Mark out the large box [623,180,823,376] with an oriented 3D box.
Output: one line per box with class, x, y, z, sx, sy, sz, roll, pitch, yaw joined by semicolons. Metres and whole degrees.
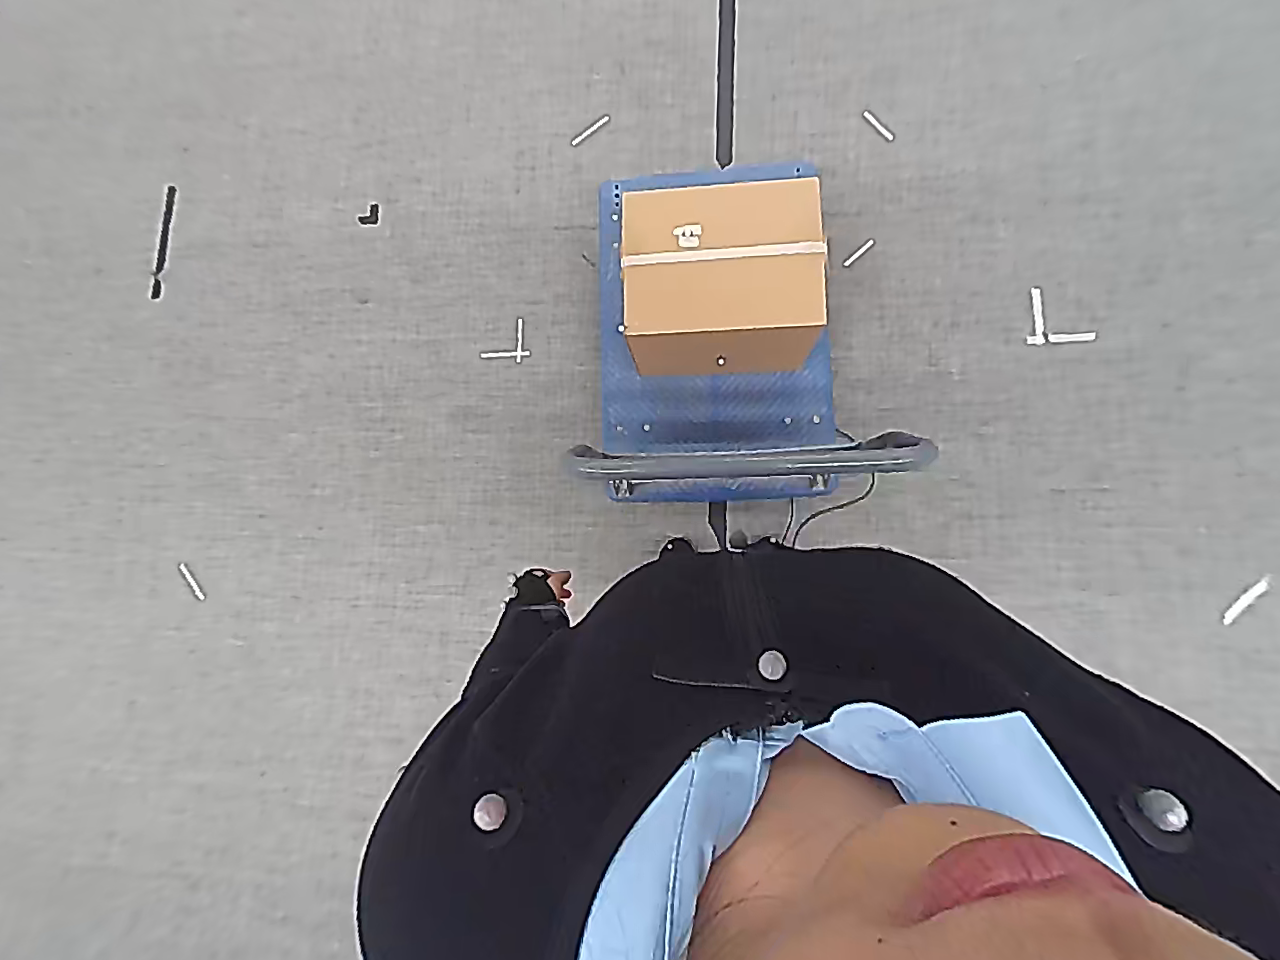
large box;0.185;-0.443;1.266;0.408;0.320;0.320;-2;83;7
